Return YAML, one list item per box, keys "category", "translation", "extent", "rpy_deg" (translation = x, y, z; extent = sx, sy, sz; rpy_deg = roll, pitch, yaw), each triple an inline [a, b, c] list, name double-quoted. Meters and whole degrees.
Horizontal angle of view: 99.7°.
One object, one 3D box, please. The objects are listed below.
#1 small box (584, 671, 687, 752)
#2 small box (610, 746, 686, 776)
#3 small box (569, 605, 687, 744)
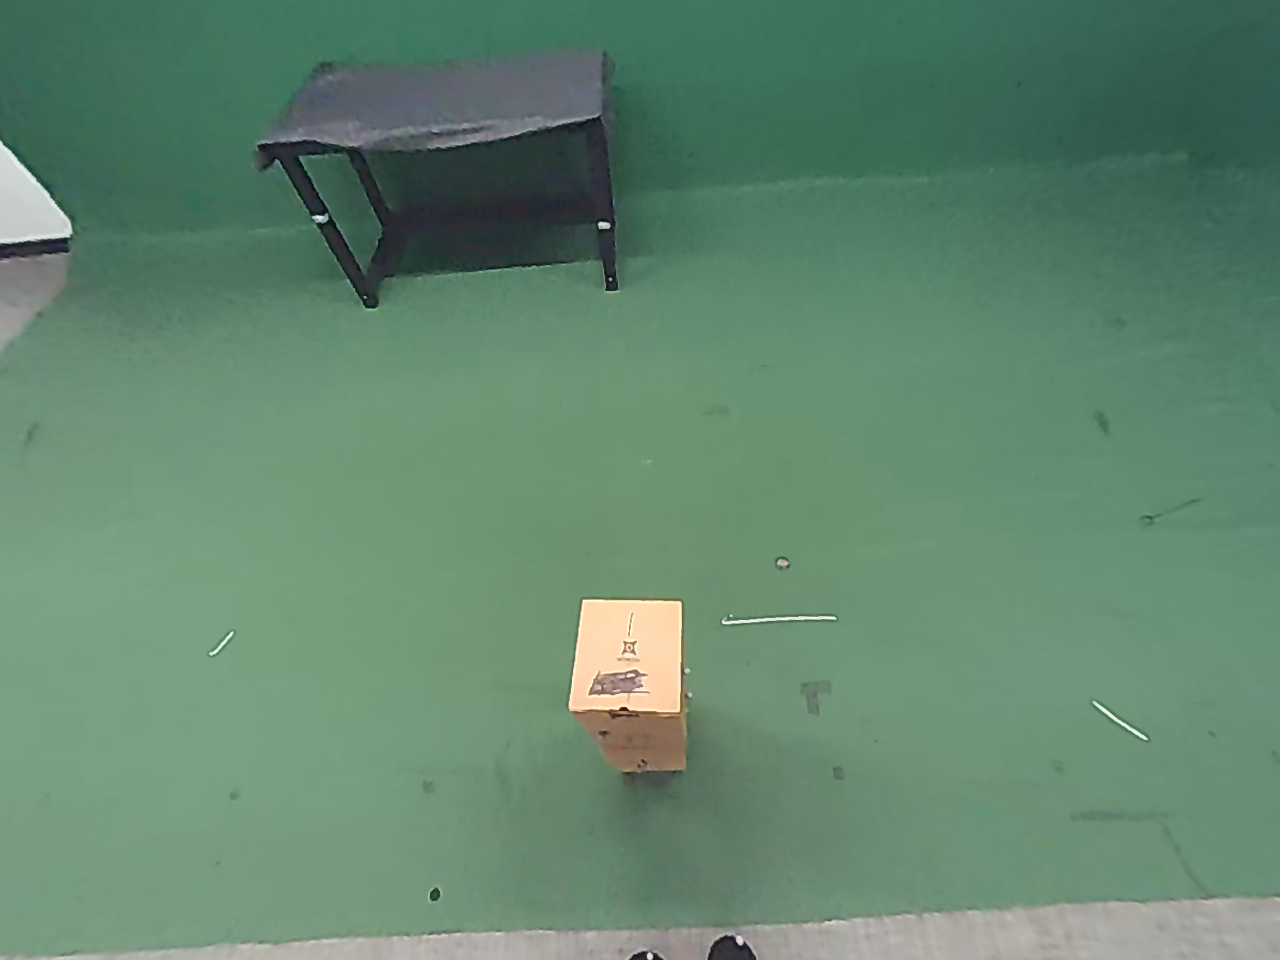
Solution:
- category: "small box"
  translation: [-0.001, 0.410, 1.022]
  extent: [0.179, 0.176, 0.168]
  rpy_deg: [-1, 54, 5]
- category: "small box"
  translation: [0.022, 0.600, 1.289]
  extent: [0.168, 0.176, 0.179]
  rpy_deg: [-4, 53, 3]
- category: "small box"
  translation: [-0.009, 0.321, 0.884]
  extent: [0.168, 0.176, 0.179]
  rpy_deg: [0, 53, 6]
